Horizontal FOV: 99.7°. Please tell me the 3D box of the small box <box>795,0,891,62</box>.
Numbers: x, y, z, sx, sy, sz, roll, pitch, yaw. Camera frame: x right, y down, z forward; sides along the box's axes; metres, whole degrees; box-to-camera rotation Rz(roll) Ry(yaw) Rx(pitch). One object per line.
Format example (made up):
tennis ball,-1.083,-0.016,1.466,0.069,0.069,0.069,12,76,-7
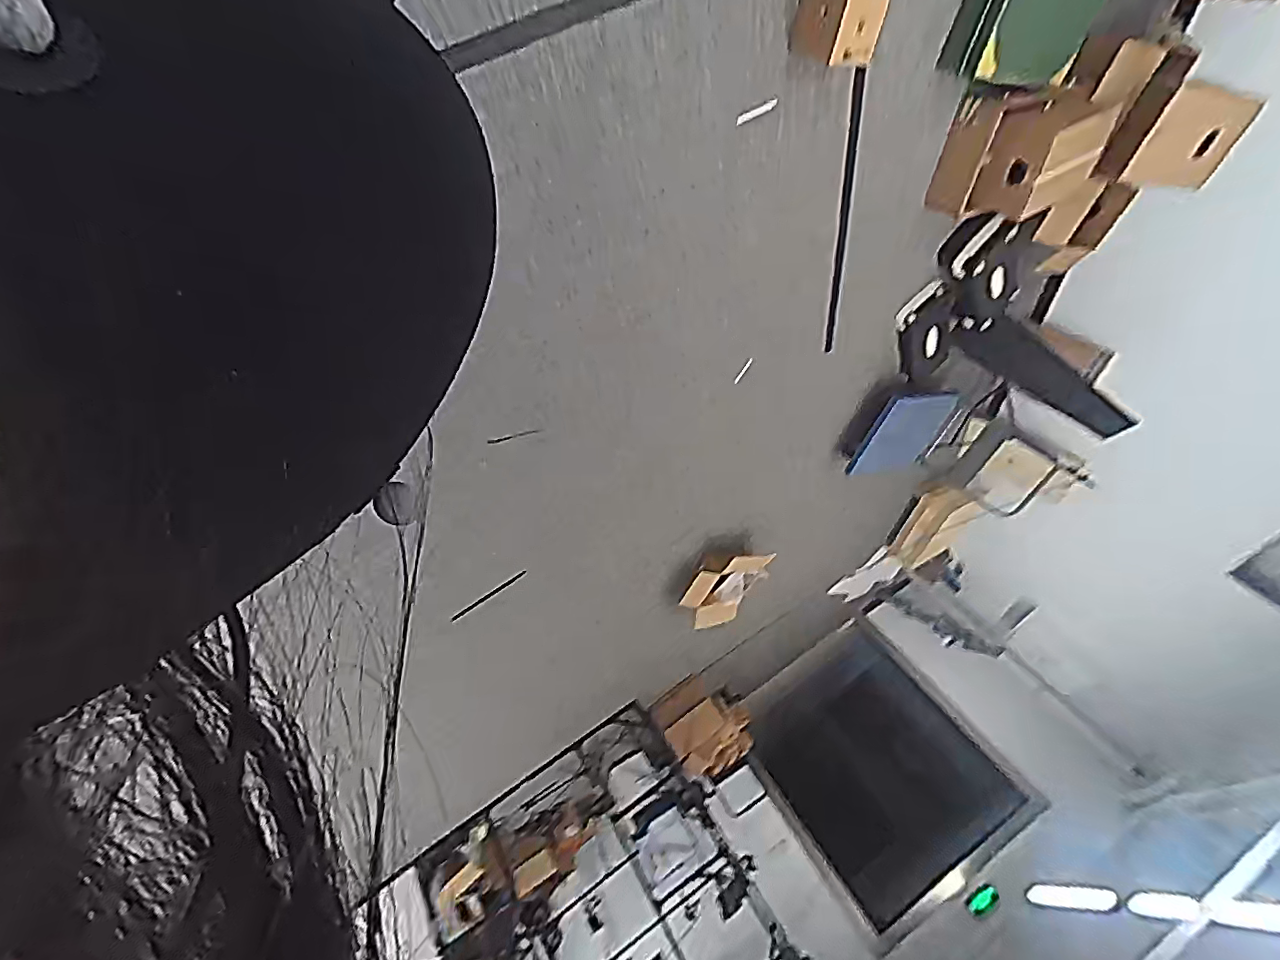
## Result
small box,0.553,-1.274,1.483,0.168,0.176,0.179,-23,143,-23
